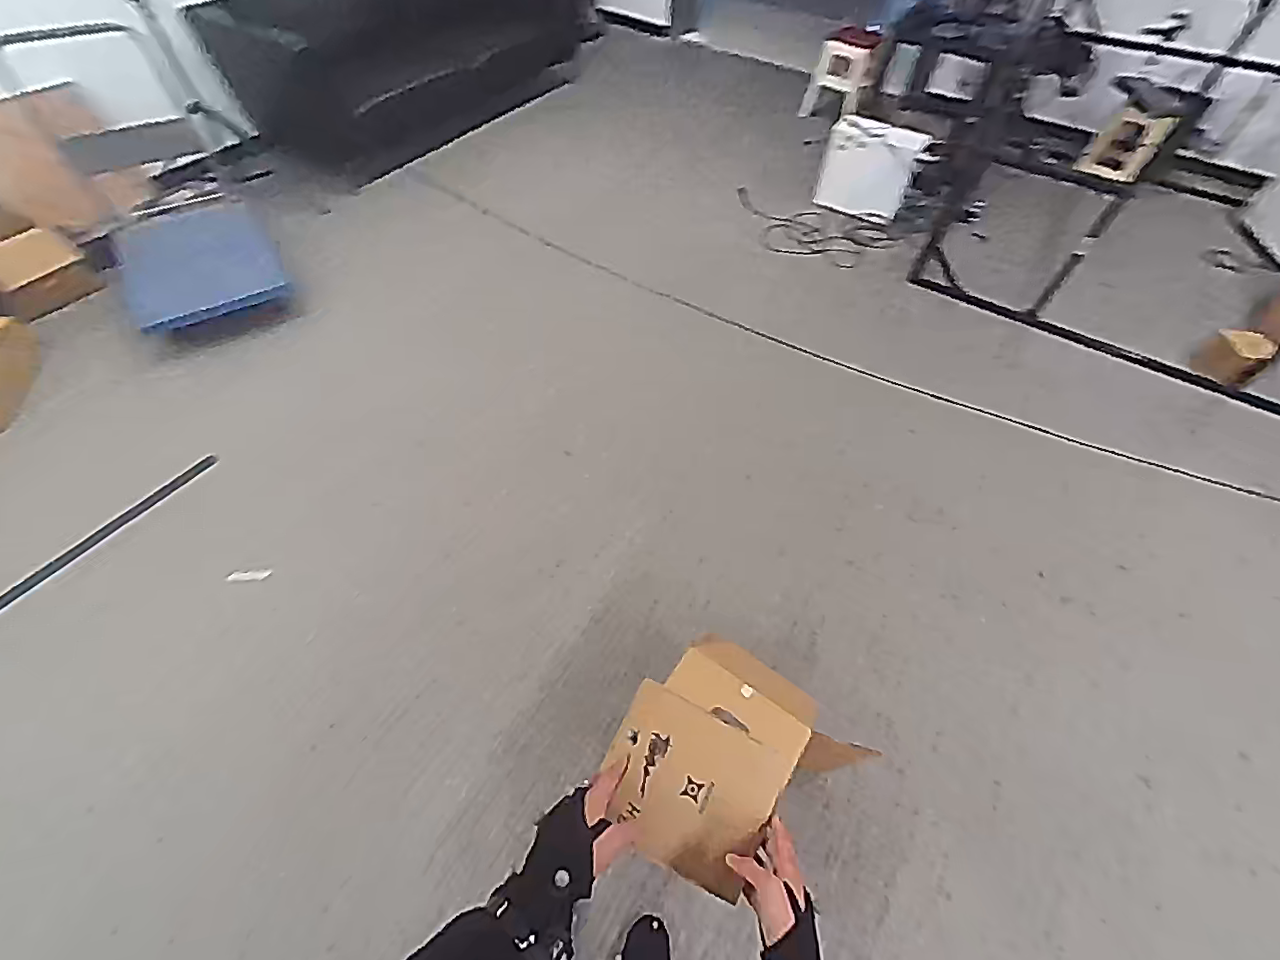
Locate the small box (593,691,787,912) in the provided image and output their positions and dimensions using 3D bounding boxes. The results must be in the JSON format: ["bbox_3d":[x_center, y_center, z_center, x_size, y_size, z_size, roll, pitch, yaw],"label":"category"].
[{"bbox_3d":[0.053,0.392,0.700,0.179,0.176,0.168,29,74,0],"label":"small box"}]
